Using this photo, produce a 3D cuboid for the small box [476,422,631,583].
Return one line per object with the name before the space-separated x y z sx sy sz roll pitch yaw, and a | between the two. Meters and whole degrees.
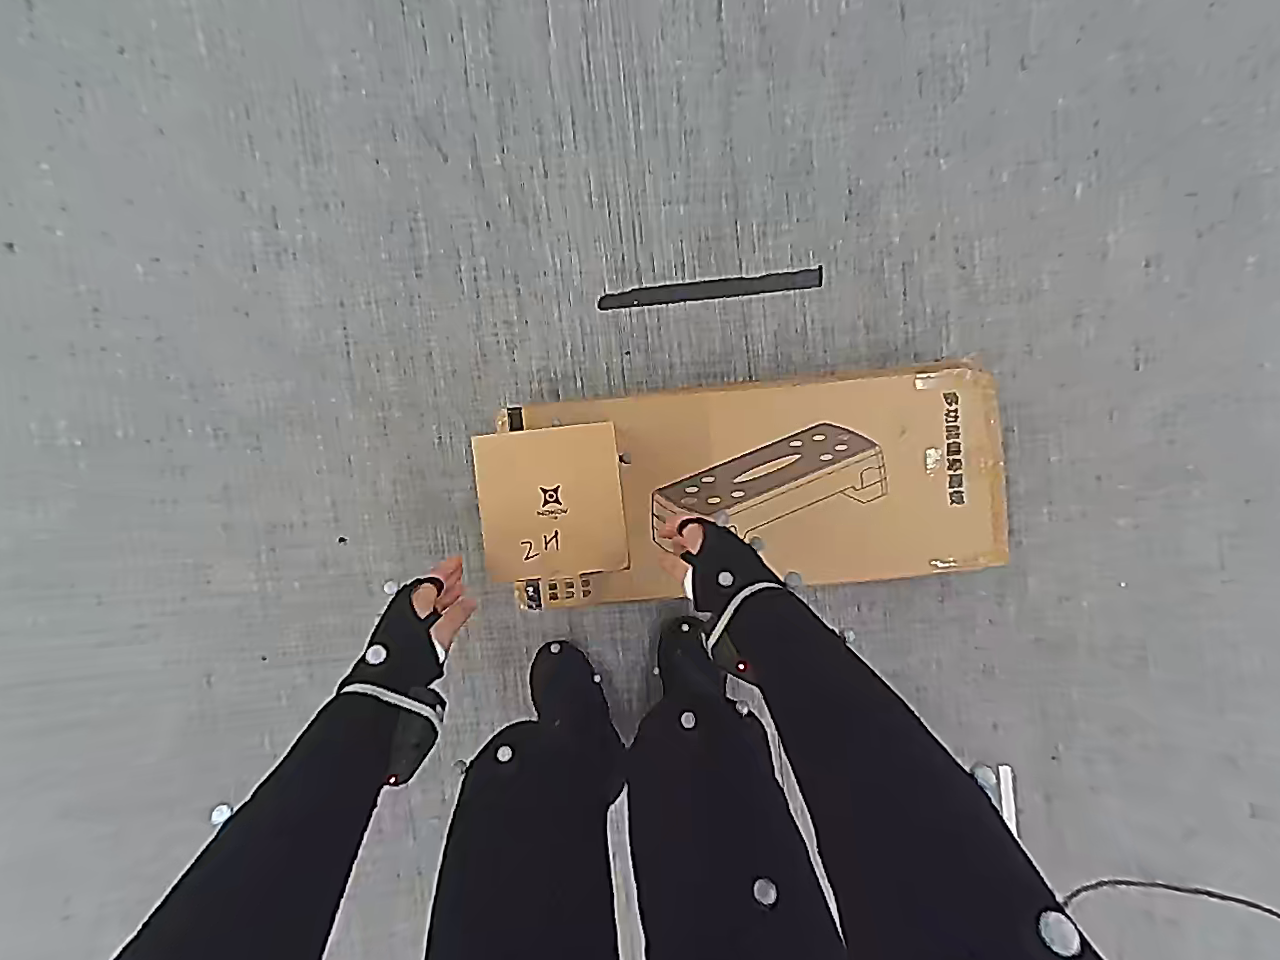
small box | -0.102 0.024 0.705 0.168 0.176 0.179 -6 93 0
